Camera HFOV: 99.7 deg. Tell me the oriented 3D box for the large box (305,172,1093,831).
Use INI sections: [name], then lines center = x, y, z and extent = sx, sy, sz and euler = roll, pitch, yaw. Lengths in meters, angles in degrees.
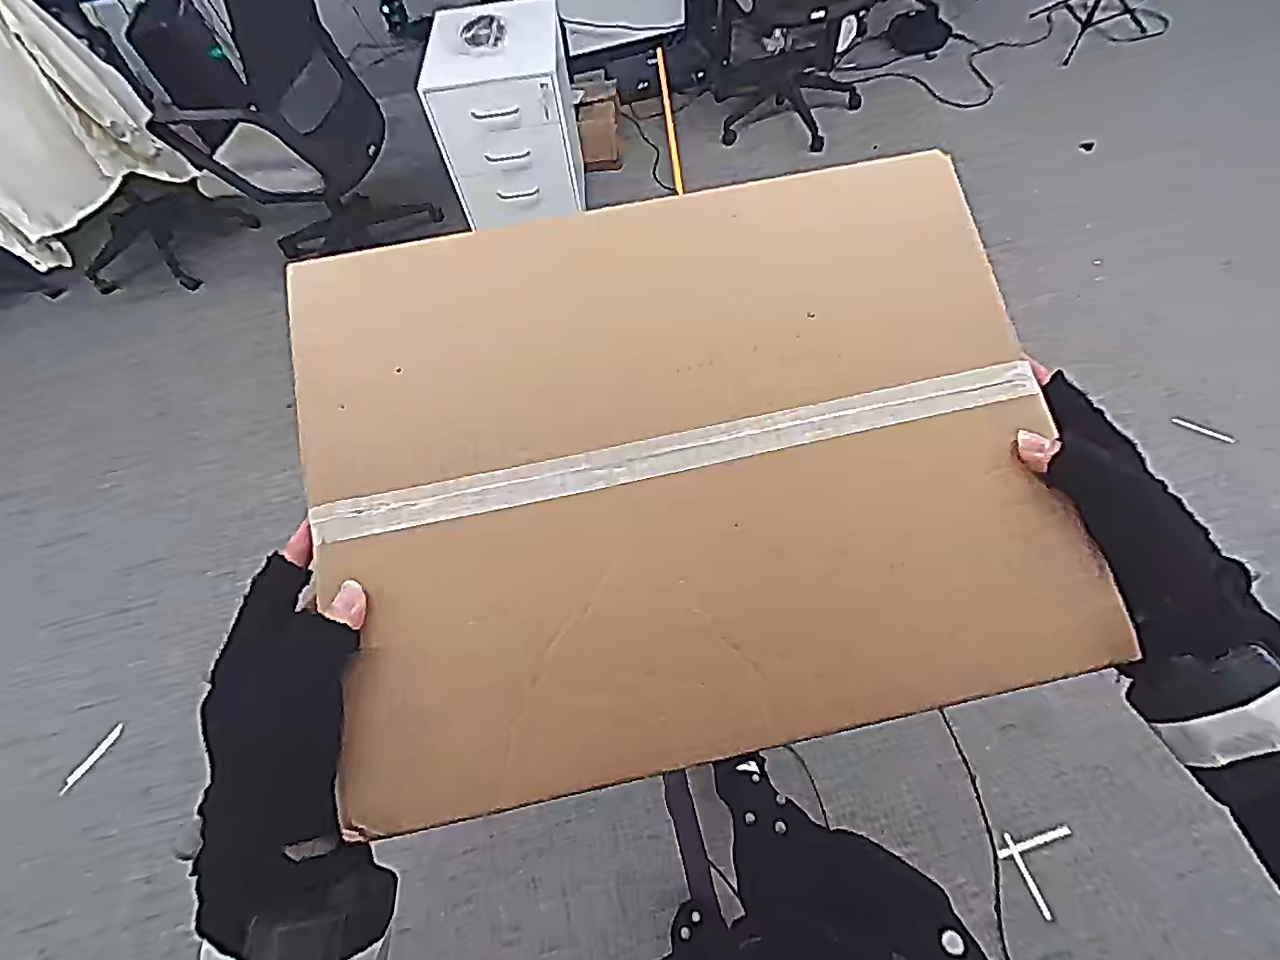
[large box]
center = 0.022, 0.016, 0.453
extent = 0.408, 0.320, 0.320
euler = -11, 78, -3
